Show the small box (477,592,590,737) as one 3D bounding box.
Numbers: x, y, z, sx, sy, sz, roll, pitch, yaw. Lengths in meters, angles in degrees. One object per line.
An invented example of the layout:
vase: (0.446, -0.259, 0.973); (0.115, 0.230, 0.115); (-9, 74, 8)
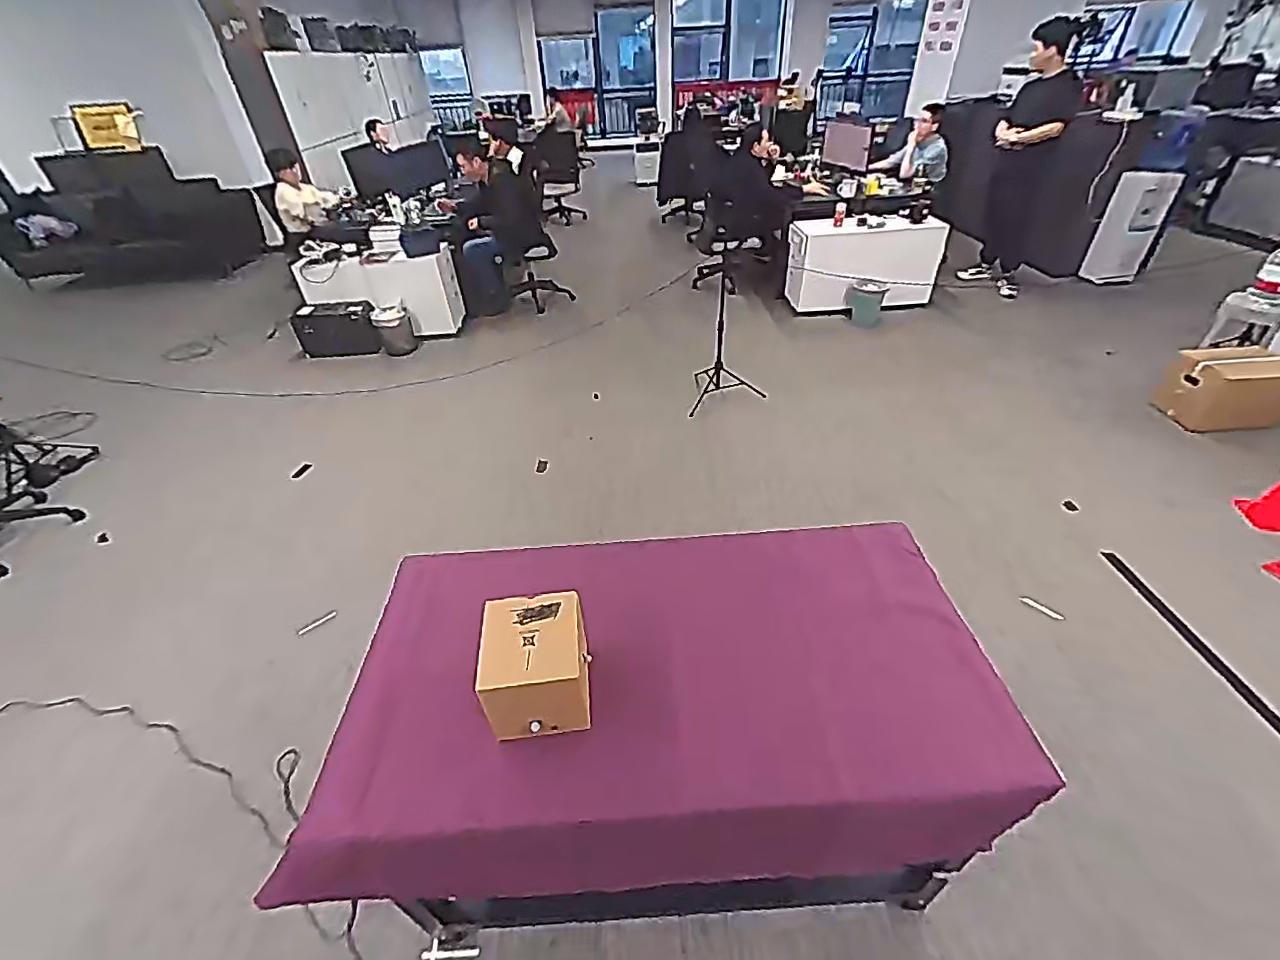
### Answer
small box: (-0.181, 0.327, 0.964); (0.168, 0.176, 0.179); (-6, 39, -3)
